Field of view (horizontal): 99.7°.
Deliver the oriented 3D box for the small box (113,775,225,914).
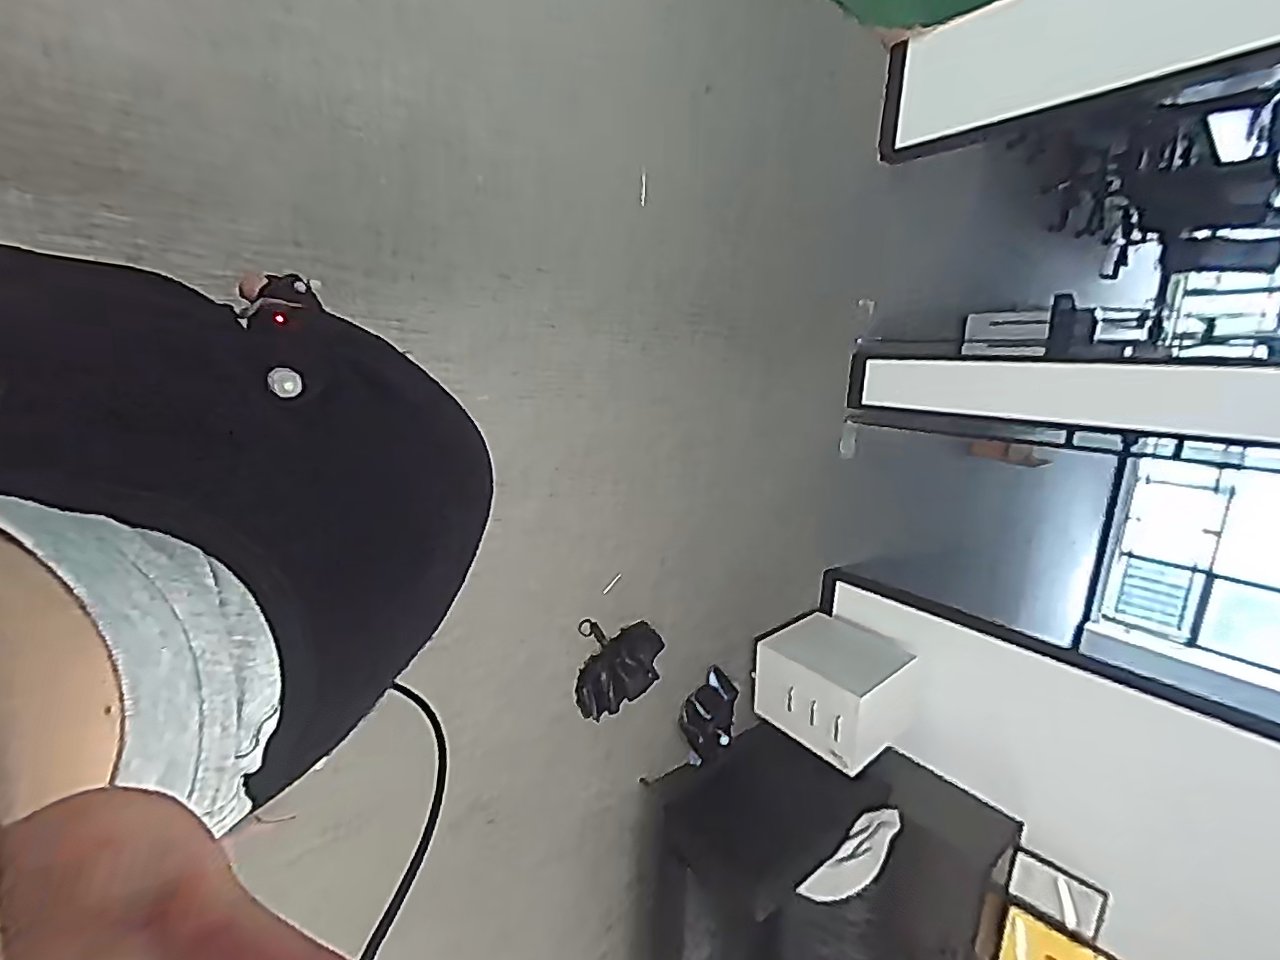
[{"bbox_3d":[-1.104,0.849,1.279,0.168,0.176,0.179,-15,110,-37],"label":"small box"}]
